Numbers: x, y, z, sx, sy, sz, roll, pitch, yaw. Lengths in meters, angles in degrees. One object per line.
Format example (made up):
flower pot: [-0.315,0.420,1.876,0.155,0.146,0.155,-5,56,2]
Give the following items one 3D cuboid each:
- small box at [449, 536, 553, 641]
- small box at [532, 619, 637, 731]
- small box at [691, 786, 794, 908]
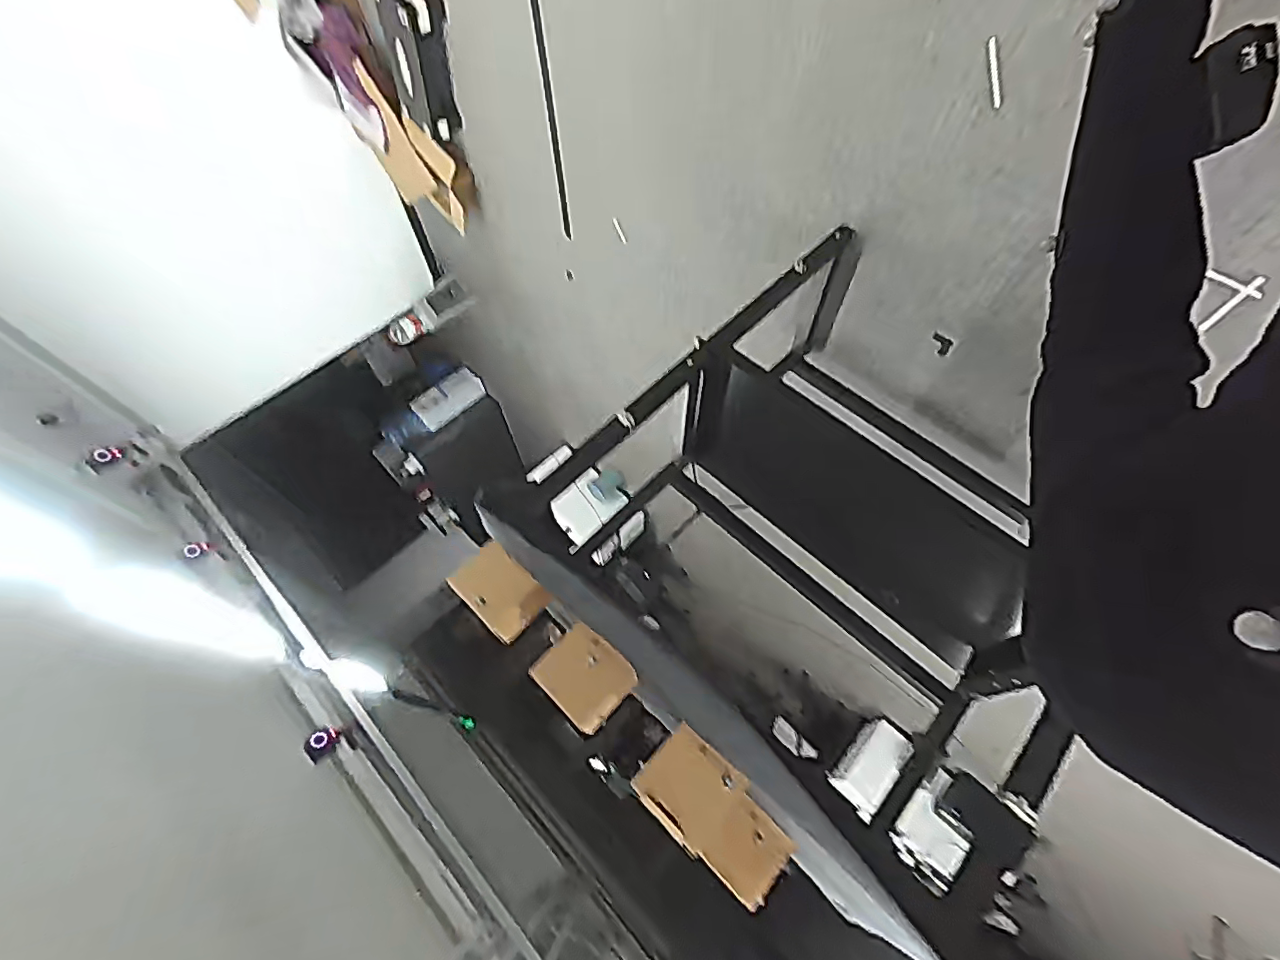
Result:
small box: [-0.336,0.270,1.350,0.168,0.176,0.179,40,160,18]
small box: [-0.119,0.451,1.249,0.168,0.176,0.179,39,160,20]
small box: [0.239,0.854,1.280,0.168,0.176,0.179,39,157,21]
